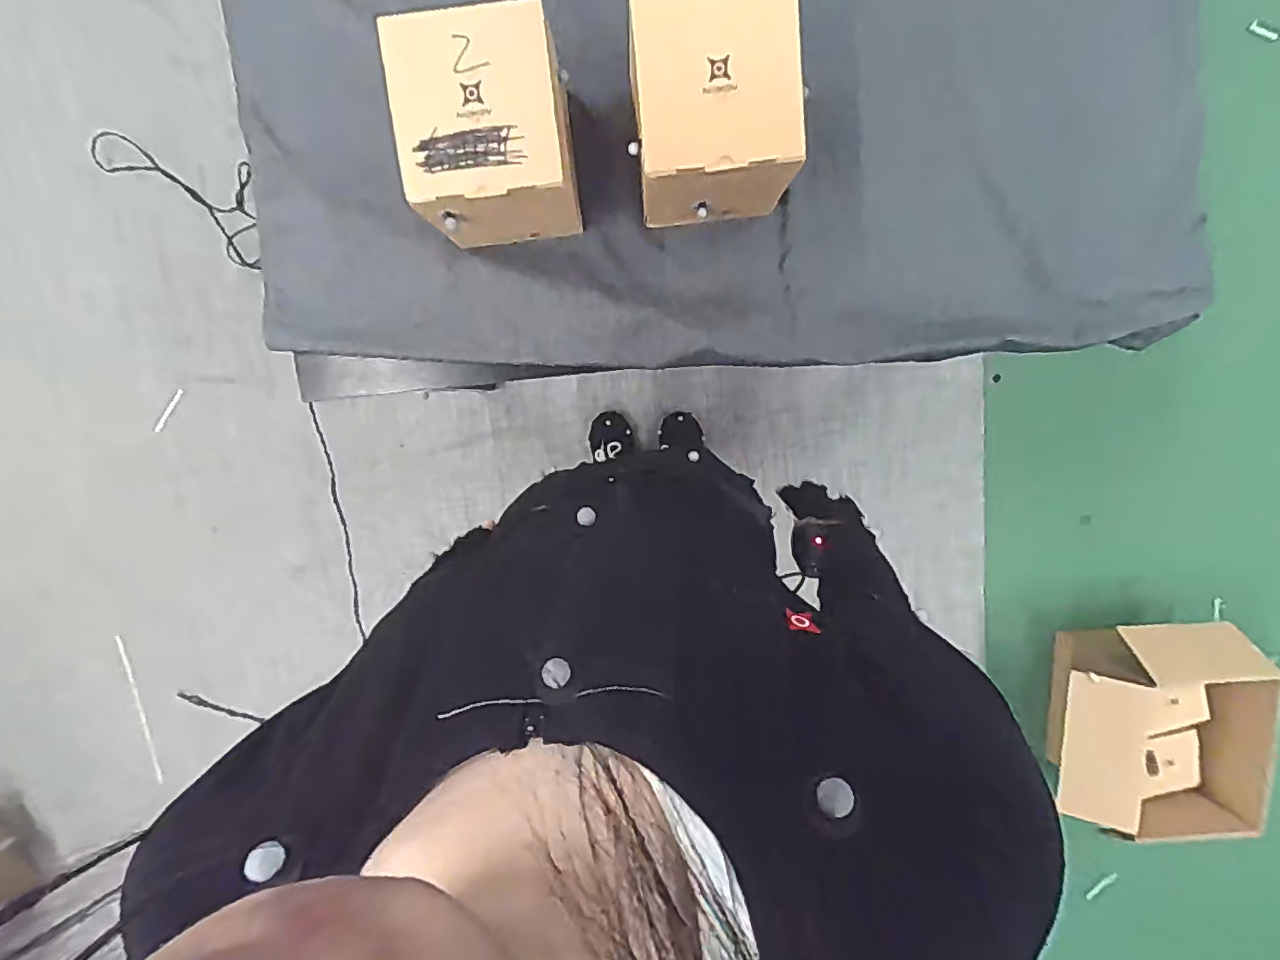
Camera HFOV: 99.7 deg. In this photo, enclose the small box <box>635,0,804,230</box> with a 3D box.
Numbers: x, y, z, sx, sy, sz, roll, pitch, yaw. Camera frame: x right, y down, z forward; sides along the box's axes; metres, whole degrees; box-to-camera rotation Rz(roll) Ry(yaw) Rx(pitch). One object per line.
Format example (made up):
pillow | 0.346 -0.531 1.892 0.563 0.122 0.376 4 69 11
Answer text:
small box | 0.083 -0.416 0.633 0.168 0.176 0.179 -6 99 1
